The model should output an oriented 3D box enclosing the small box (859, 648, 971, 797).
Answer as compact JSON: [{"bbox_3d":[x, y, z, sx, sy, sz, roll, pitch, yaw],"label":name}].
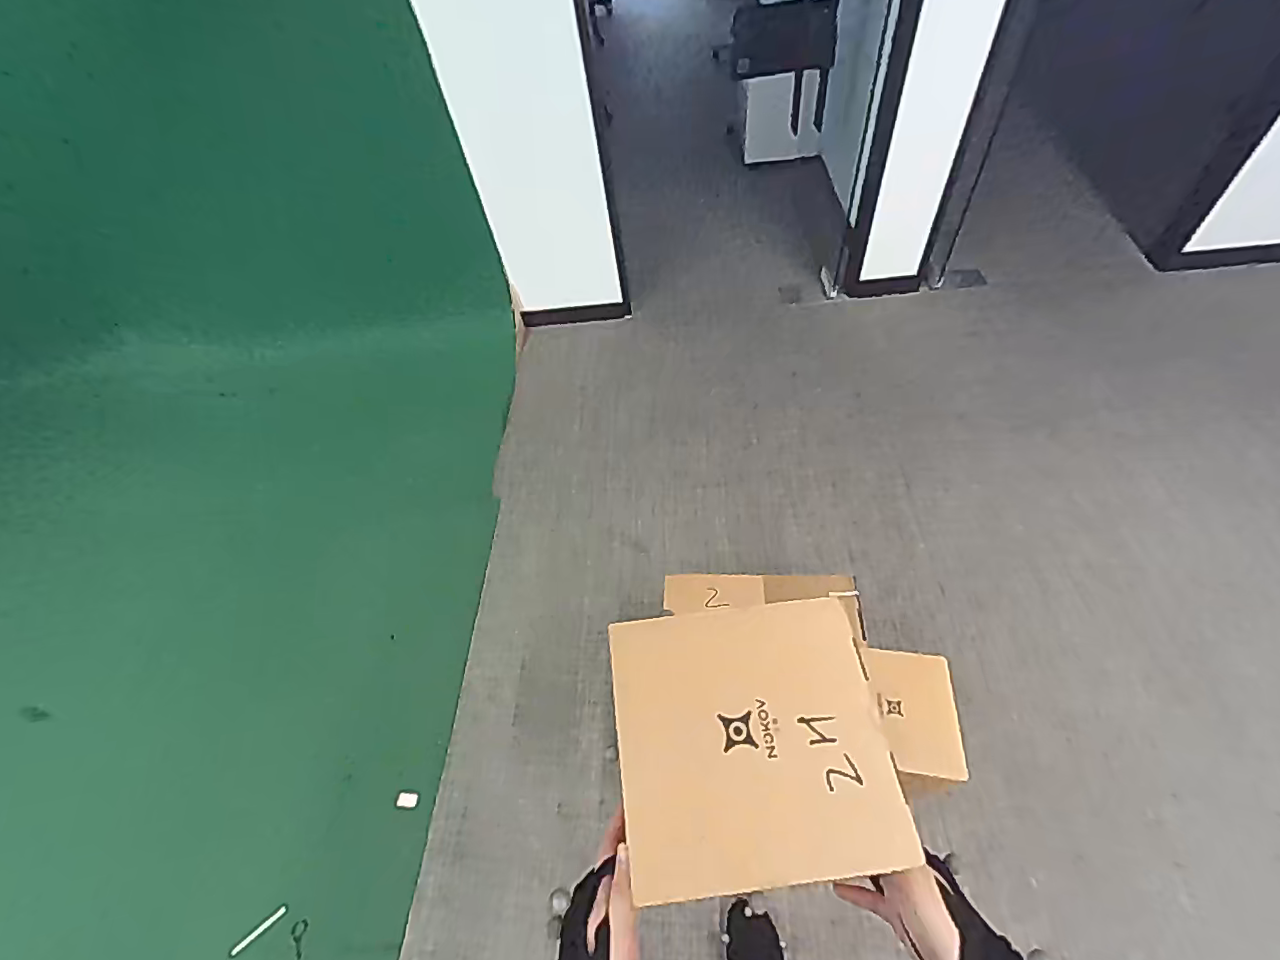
[{"bbox_3d":[0.362,0.367,0.817,0.179,0.176,0.168,3,53,10],"label":"small box"}]

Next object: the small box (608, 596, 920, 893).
[{"bbox_3d":[0.073,0.203,0.419,0.179,0.176,0.168,-5,59,-1],"label":"small box"}]
